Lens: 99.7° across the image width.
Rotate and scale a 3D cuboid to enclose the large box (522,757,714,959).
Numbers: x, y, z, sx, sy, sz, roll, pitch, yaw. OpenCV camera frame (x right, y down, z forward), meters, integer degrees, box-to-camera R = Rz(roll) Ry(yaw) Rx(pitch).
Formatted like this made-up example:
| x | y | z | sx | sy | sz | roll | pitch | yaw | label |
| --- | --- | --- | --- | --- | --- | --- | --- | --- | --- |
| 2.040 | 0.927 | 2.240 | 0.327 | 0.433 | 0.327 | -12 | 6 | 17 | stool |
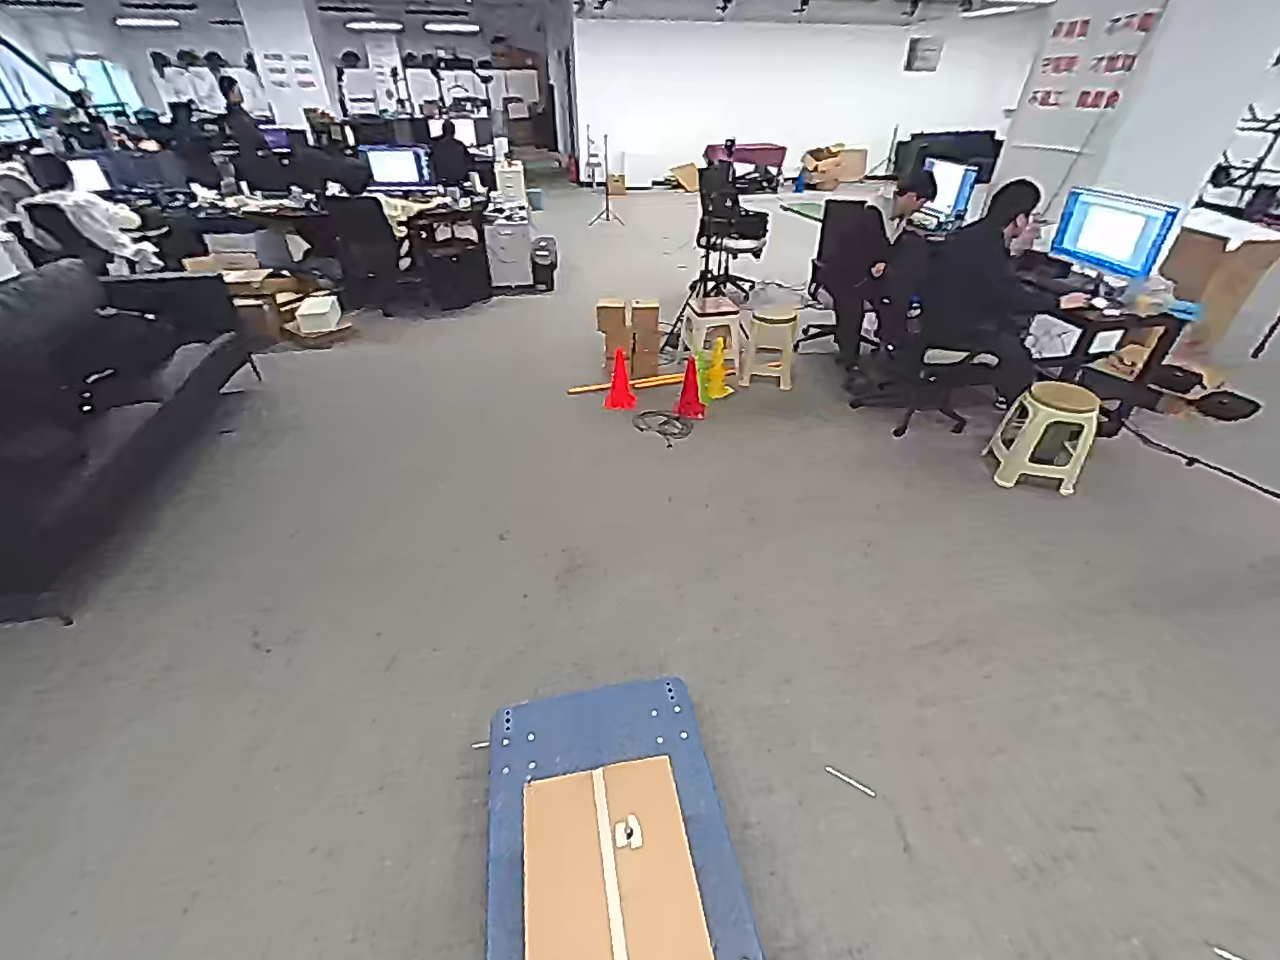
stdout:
| x | y | z | sx | sy | sz | roll | pitch | yaw | label |
| --- | --- | --- | --- | --- | --- | --- | --- | --- | --- |
| -0.055 | 0.859 | 1.088 | 0.320 | 0.320 | 0.408 | -7 | 35 | -9 | large box |
